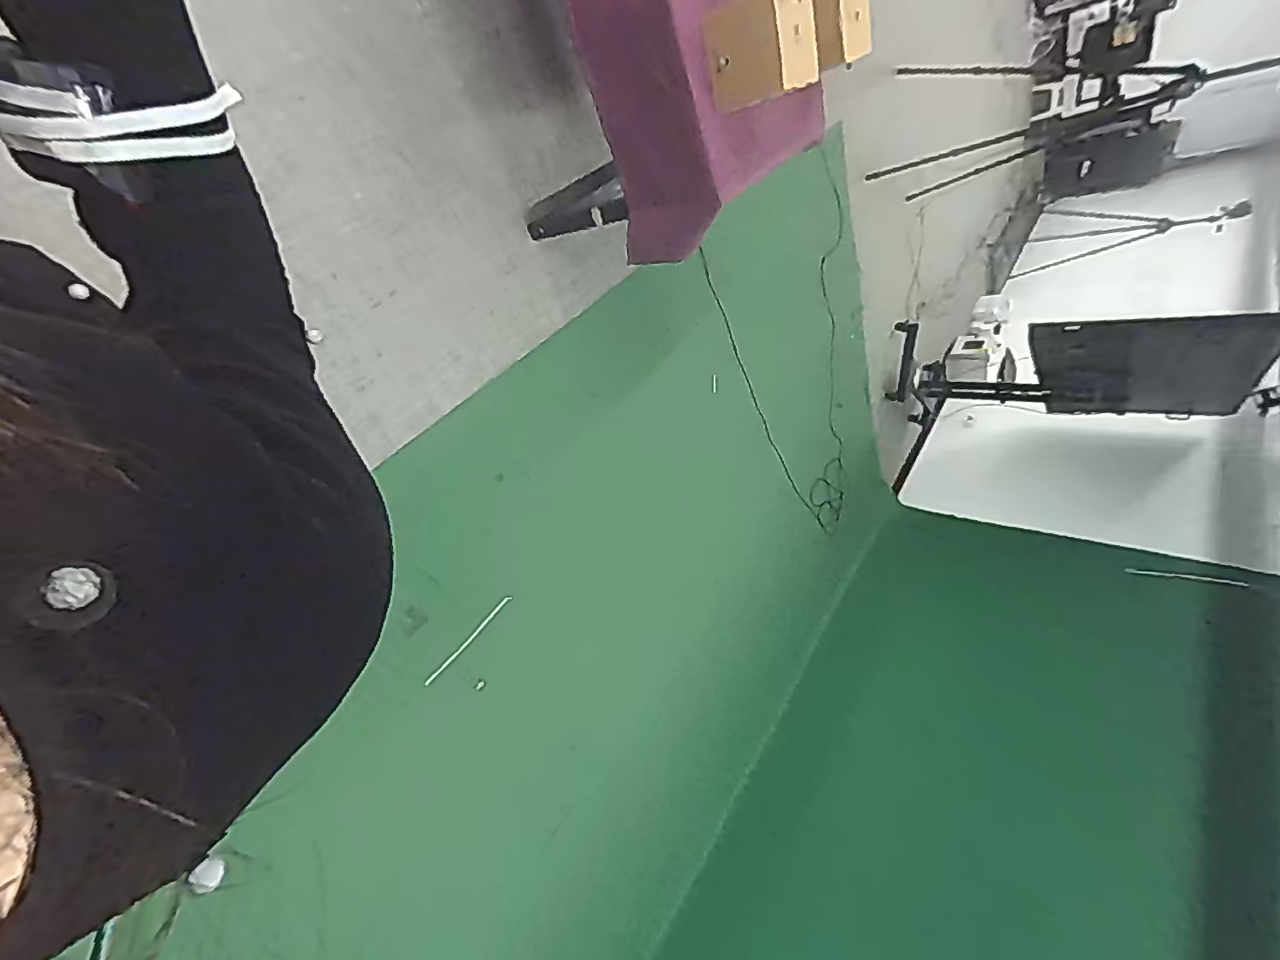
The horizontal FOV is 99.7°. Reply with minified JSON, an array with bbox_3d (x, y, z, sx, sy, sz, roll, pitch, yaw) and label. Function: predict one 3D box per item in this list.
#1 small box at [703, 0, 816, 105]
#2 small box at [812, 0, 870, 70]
[{"bbox_3d":[0.257,-0.927,1.157,0.168,0.176,0.179,-41,128,-35],"label":"small box"},{"bbox_3d":[0.445,-1.114,1.325,0.179,0.176,0.168,-44,128,-32],"label":"small box"}]
